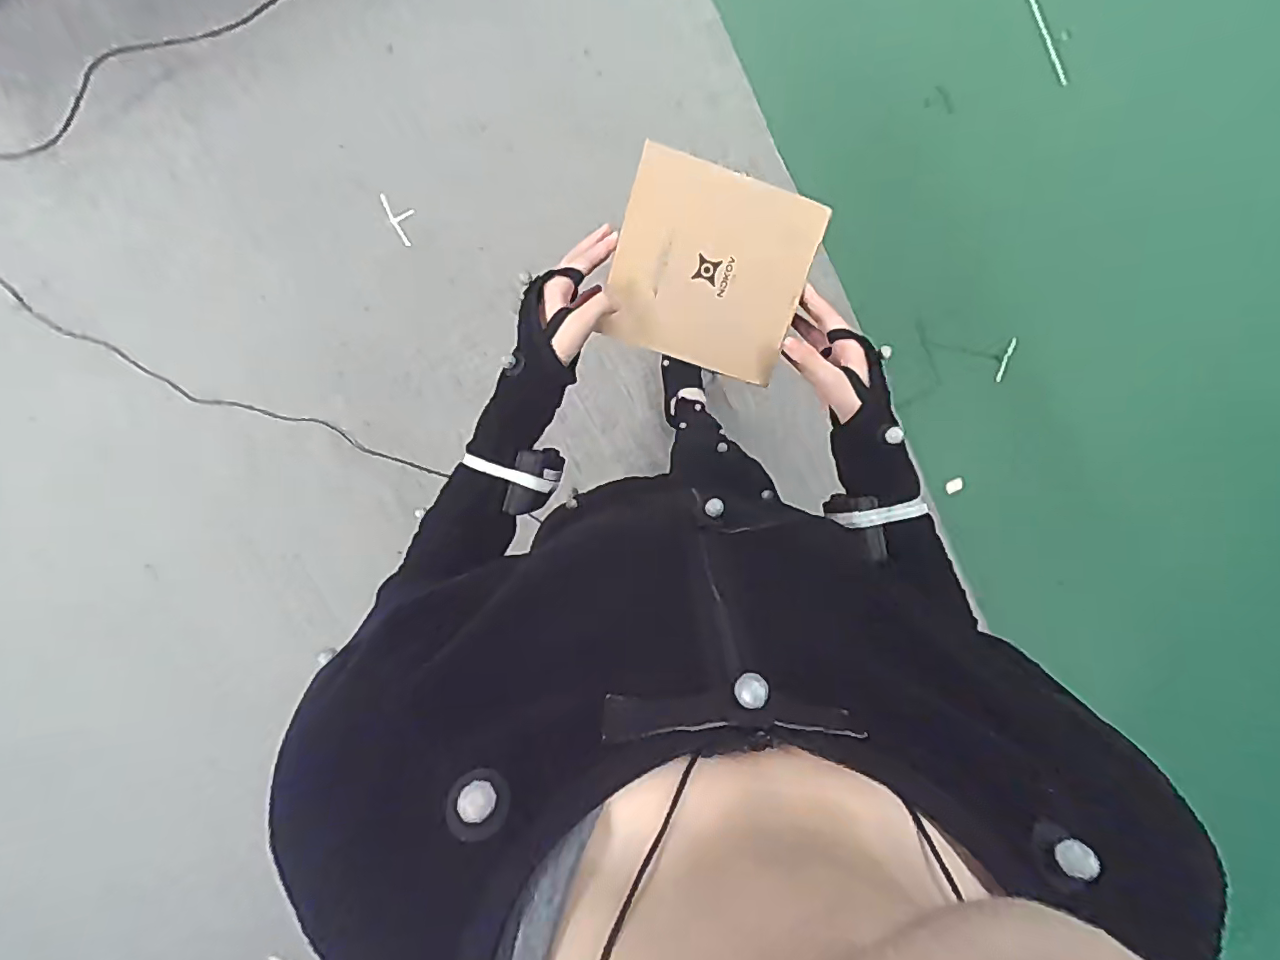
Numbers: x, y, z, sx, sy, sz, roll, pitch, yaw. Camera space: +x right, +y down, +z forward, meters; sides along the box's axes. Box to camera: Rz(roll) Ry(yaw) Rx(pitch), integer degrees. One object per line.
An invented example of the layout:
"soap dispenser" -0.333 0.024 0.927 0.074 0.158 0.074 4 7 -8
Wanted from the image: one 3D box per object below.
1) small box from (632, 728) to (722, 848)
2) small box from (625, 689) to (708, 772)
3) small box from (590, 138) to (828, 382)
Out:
"small box" 0.082 0.734 1.318 0.168 0.176 0.179 -20 95 -1
"small box" 0.069 0.712 1.481 0.168 0.176 0.179 -26 95 0
"small box" 0.058 -0.212 0.560 0.179 0.176 0.168 16 103 -6
